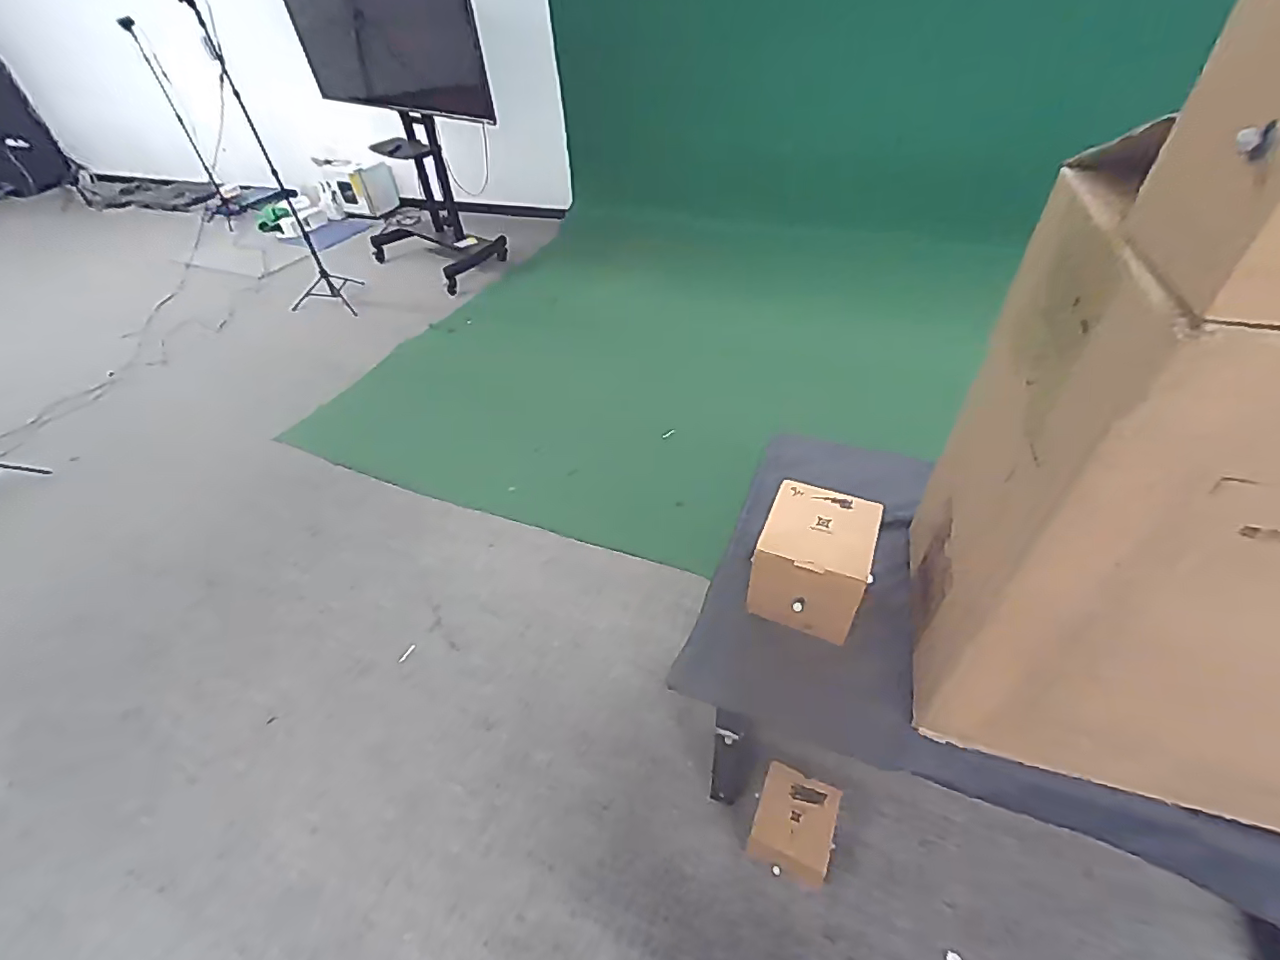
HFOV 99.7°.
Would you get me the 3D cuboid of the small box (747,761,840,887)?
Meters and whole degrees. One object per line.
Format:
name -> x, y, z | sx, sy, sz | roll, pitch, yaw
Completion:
small box -> 0.355, 0.806, 1.266 | 0.168, 0.176, 0.179 | 15, 48, 22
